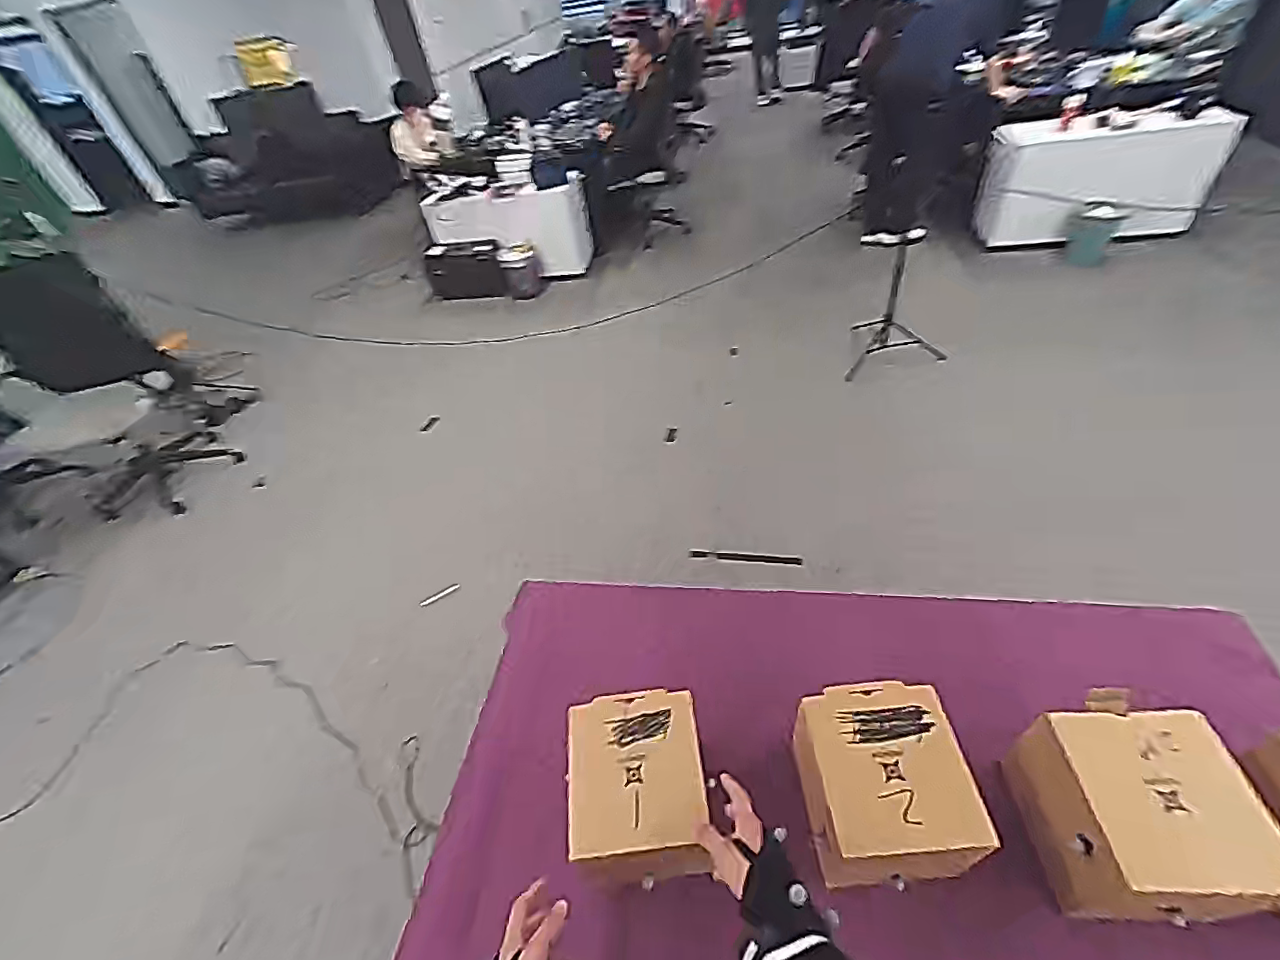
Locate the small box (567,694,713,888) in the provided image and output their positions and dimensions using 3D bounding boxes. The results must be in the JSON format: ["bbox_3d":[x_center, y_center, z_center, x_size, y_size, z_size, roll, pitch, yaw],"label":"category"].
[{"bbox_3d":[0.001,0.413,0.719,0.168,0.176,0.179,-9,45,2],"label":"small box"}]

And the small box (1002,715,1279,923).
[{"bbox_3d":[0.568,0.396,0.633,0.168,0.176,0.179,-3,44,7],"label":"small box"}]
